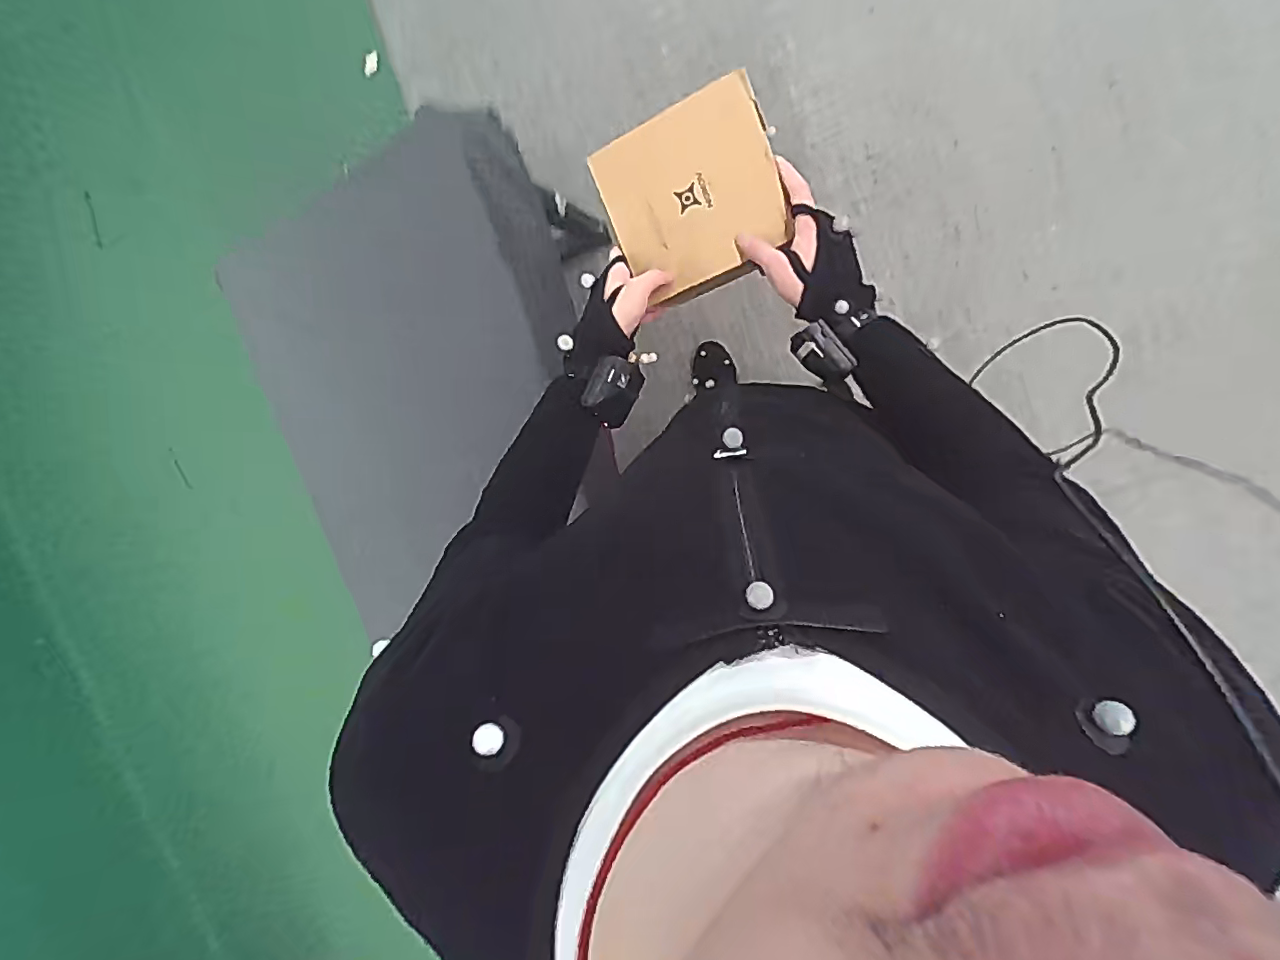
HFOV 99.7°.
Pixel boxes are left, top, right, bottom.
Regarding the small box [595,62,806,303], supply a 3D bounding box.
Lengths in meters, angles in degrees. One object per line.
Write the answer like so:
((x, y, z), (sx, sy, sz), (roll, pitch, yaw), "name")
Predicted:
((0.076, -0.311, 0.612), (0.179, 0.176, 0.168), (-16, 100, 18), "small box")
